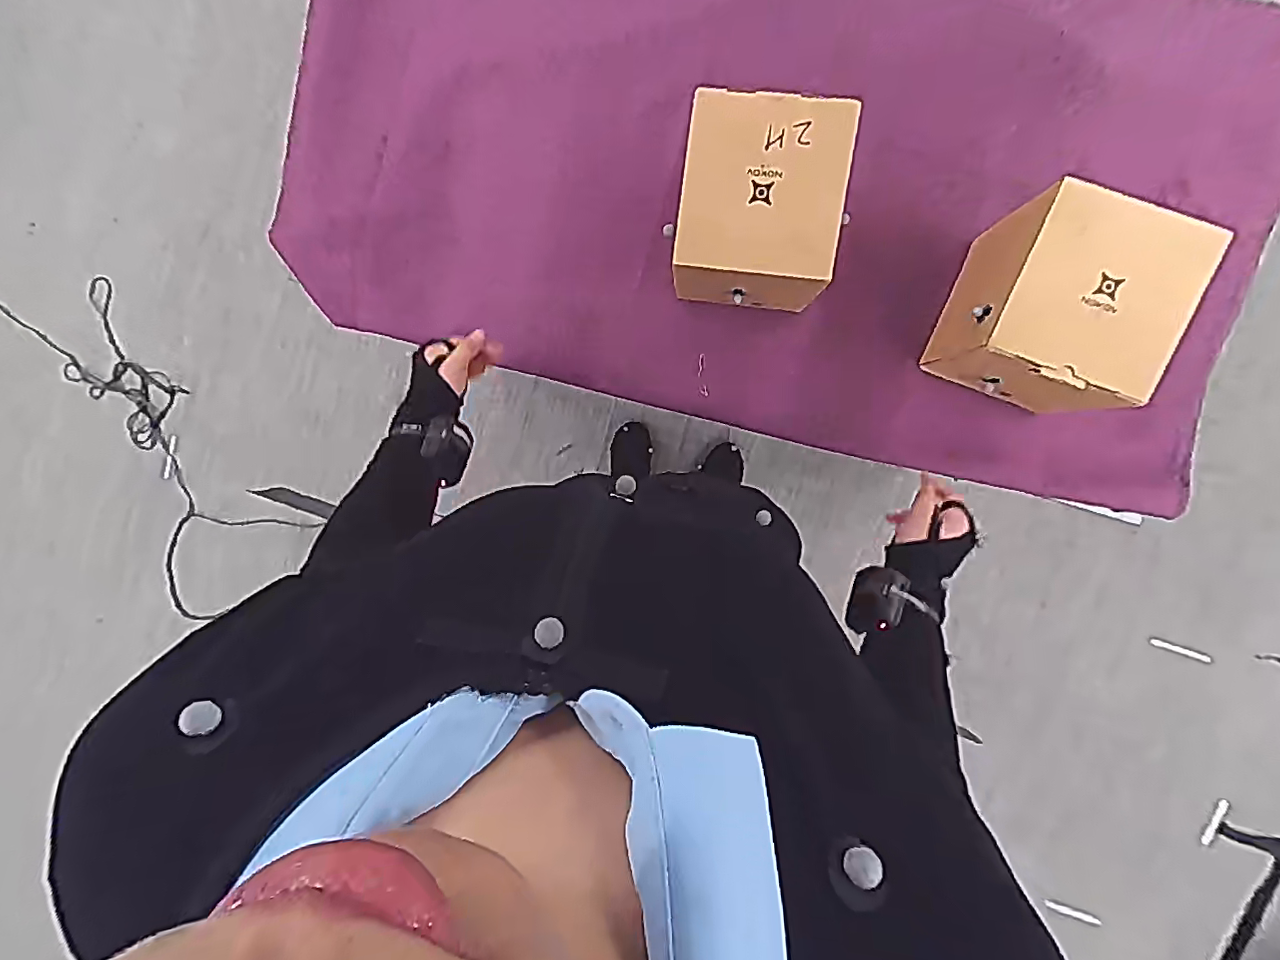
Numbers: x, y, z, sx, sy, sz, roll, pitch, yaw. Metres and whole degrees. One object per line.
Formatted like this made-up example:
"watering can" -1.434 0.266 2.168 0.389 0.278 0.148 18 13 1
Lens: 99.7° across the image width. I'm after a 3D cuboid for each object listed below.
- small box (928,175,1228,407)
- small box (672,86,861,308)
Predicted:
"small box" 0.458 -0.192 0.603 0.168 0.176 0.179 22 97 4
"small box" 0.133 -0.307 0.624 0.168 0.176 0.179 8 97 4
